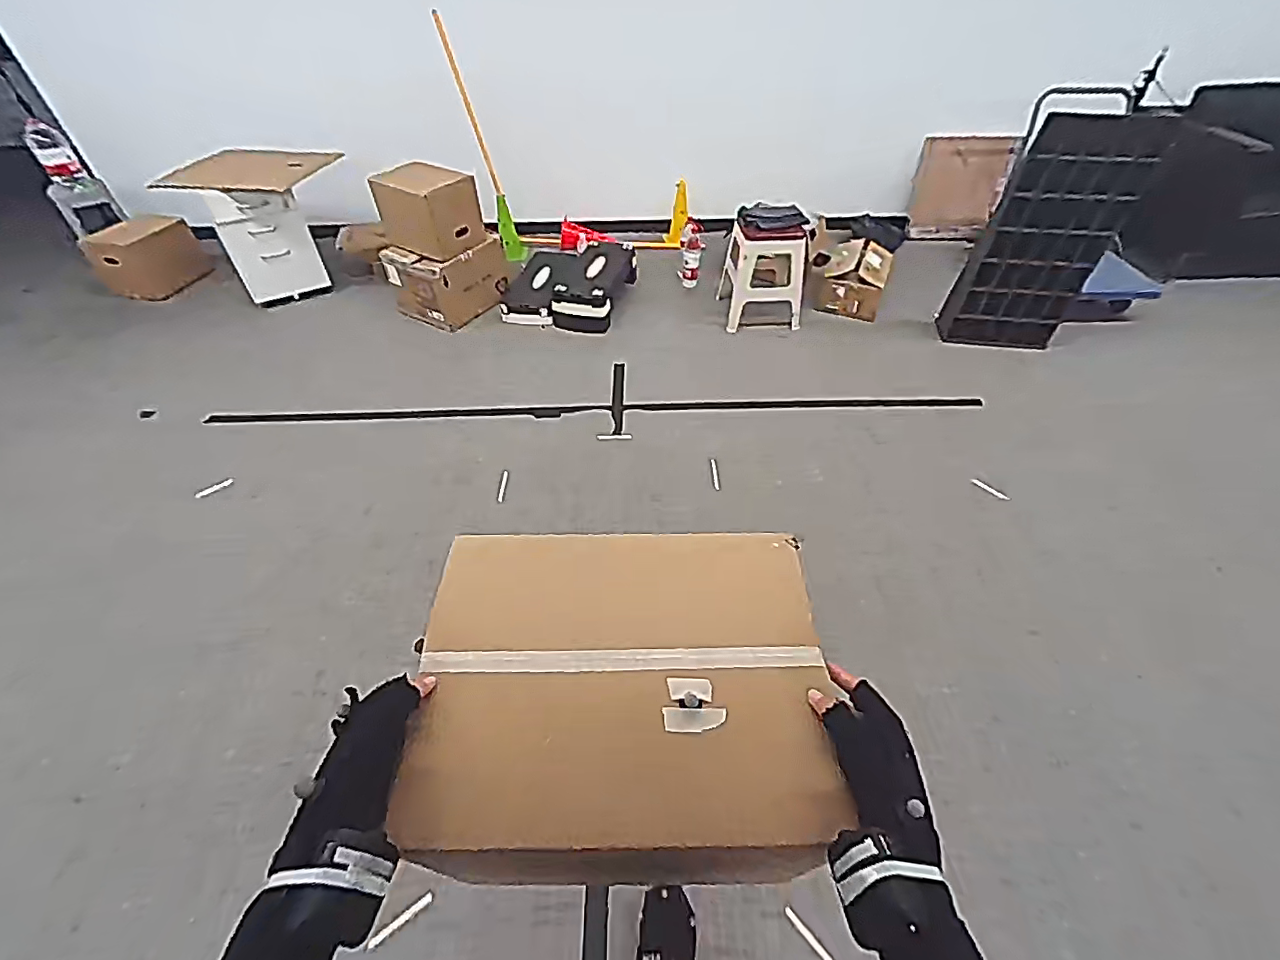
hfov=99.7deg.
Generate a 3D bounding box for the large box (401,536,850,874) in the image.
[{"bbox_3d":[-0.017,0.284,0.679,0.408,0.320,0.320,0,50,-1],"label":"large box"}]
